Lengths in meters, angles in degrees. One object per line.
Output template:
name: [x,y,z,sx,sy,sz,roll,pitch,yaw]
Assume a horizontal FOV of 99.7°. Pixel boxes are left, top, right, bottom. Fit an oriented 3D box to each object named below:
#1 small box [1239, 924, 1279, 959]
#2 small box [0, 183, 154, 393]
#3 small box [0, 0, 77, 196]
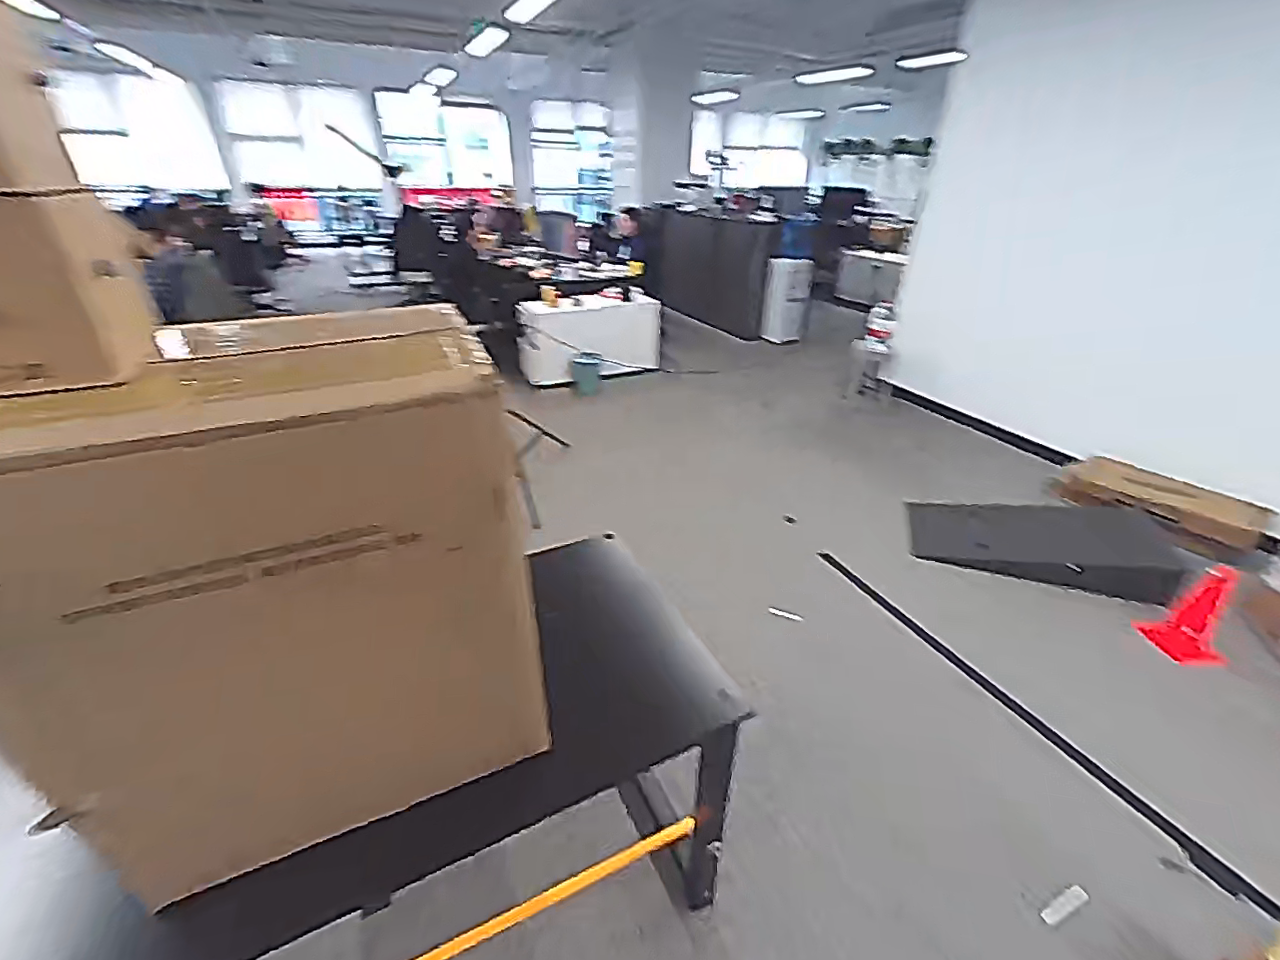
small box: [1.235,0.938,0.982,0.179,0.176,0.168,-14,33,-23]
small box: [-0.615,-0.185,0.518,0.168,0.176,0.179,-13,33,-25]
small box: [-0.608,-0.322,0.427,0.168,0.176,0.179,-15,33,-25]
